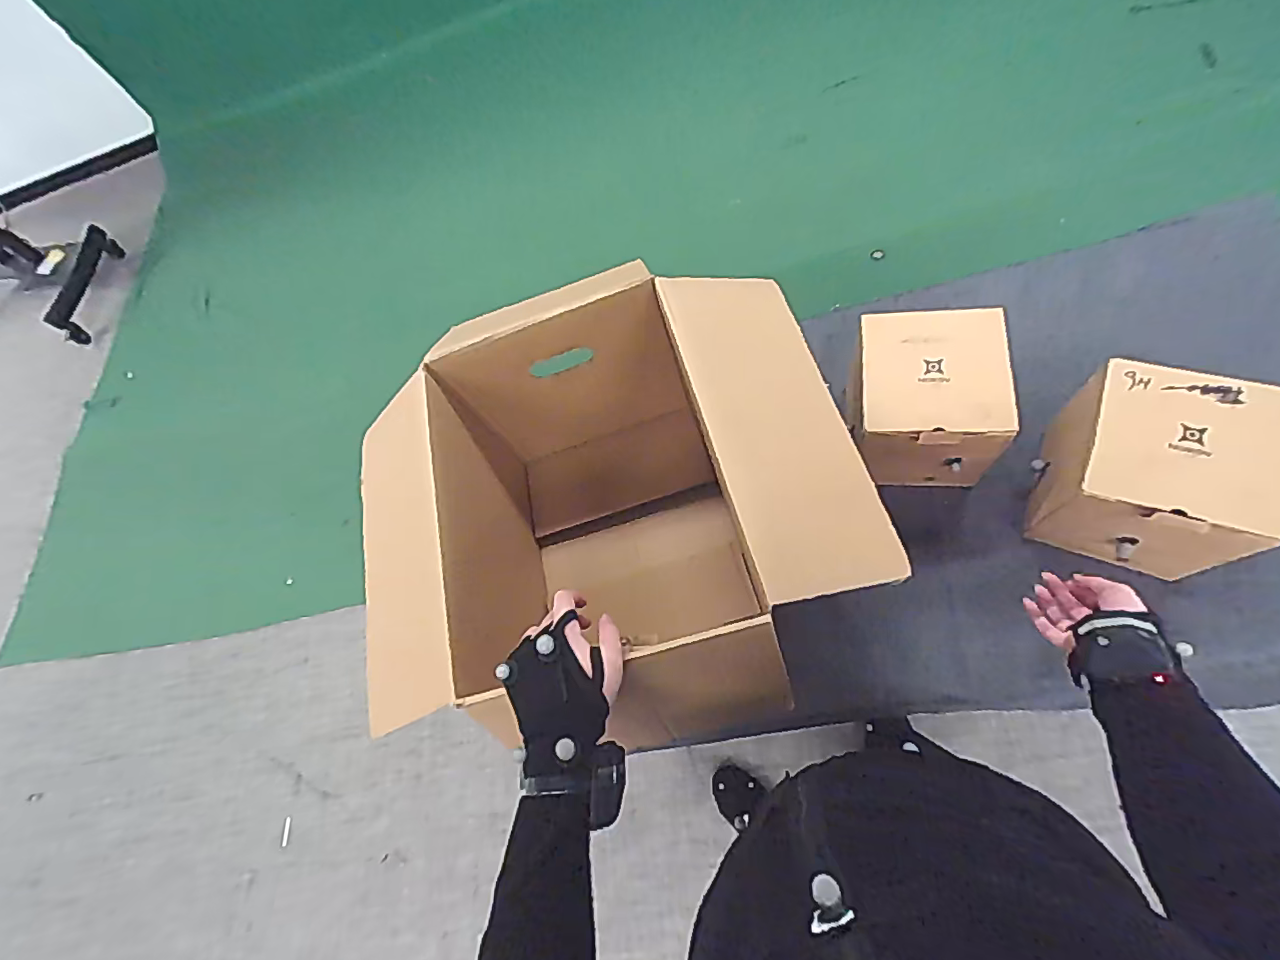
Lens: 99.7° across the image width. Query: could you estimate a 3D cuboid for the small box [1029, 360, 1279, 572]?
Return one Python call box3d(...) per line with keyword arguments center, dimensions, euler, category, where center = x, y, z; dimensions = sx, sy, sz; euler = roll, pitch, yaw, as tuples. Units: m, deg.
box3d(center=(0.596, -0.008, 0.639), dimensions=(0.168, 0.176, 0.179), euler=(20, 76, 21), category="small box")
